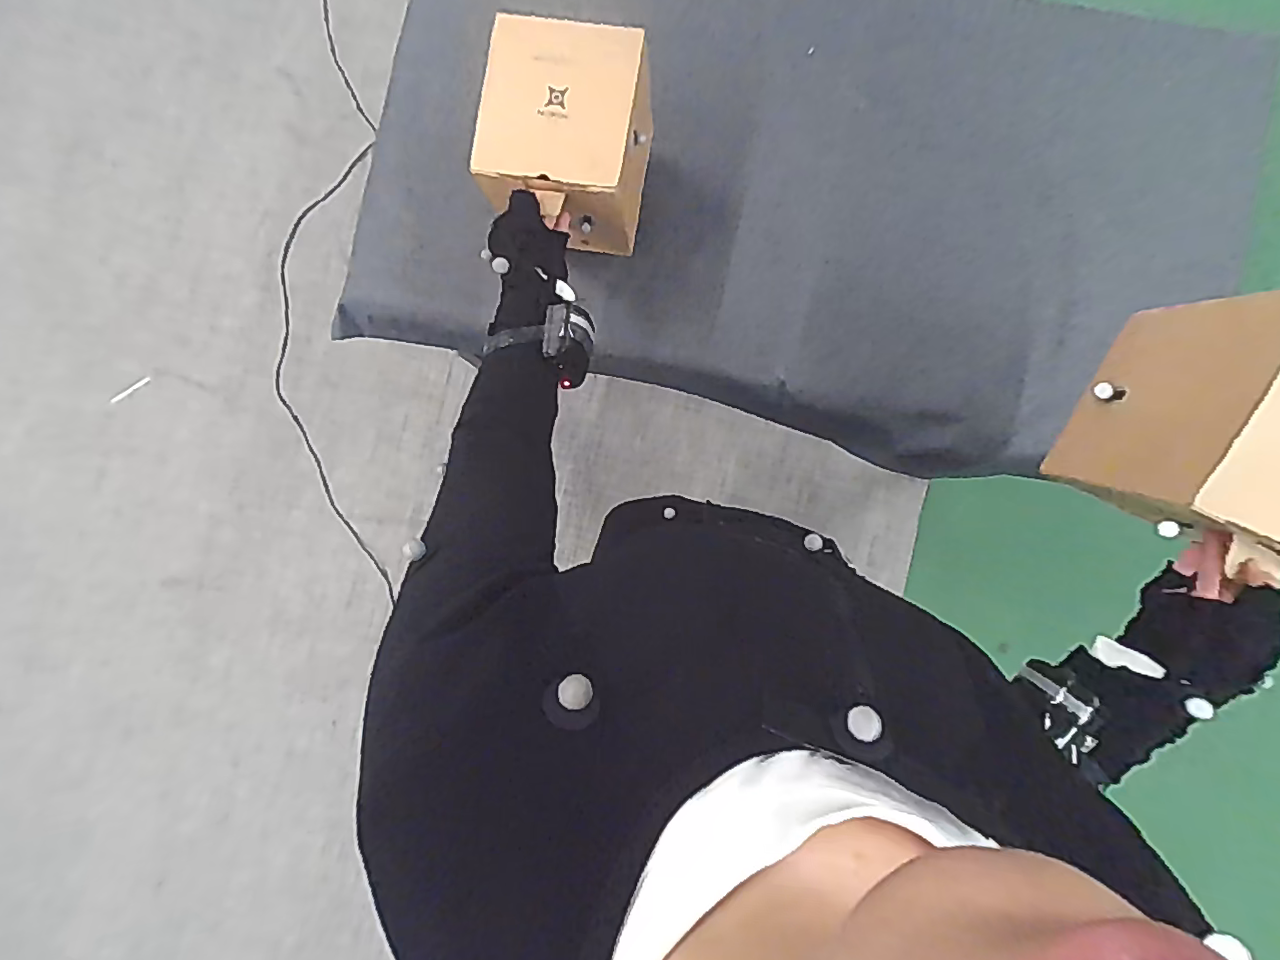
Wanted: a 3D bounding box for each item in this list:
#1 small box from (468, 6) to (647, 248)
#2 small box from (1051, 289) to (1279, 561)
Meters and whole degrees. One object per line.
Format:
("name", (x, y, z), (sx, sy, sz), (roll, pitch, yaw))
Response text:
("small box", (-0.085, -0.404, 0.649), (0.168, 0.176, 0.179), (9, 90, 3))
("small box", (0.515, -0.043, 0.470), (0.168, 0.176, 0.179), (24, 101, -3))
